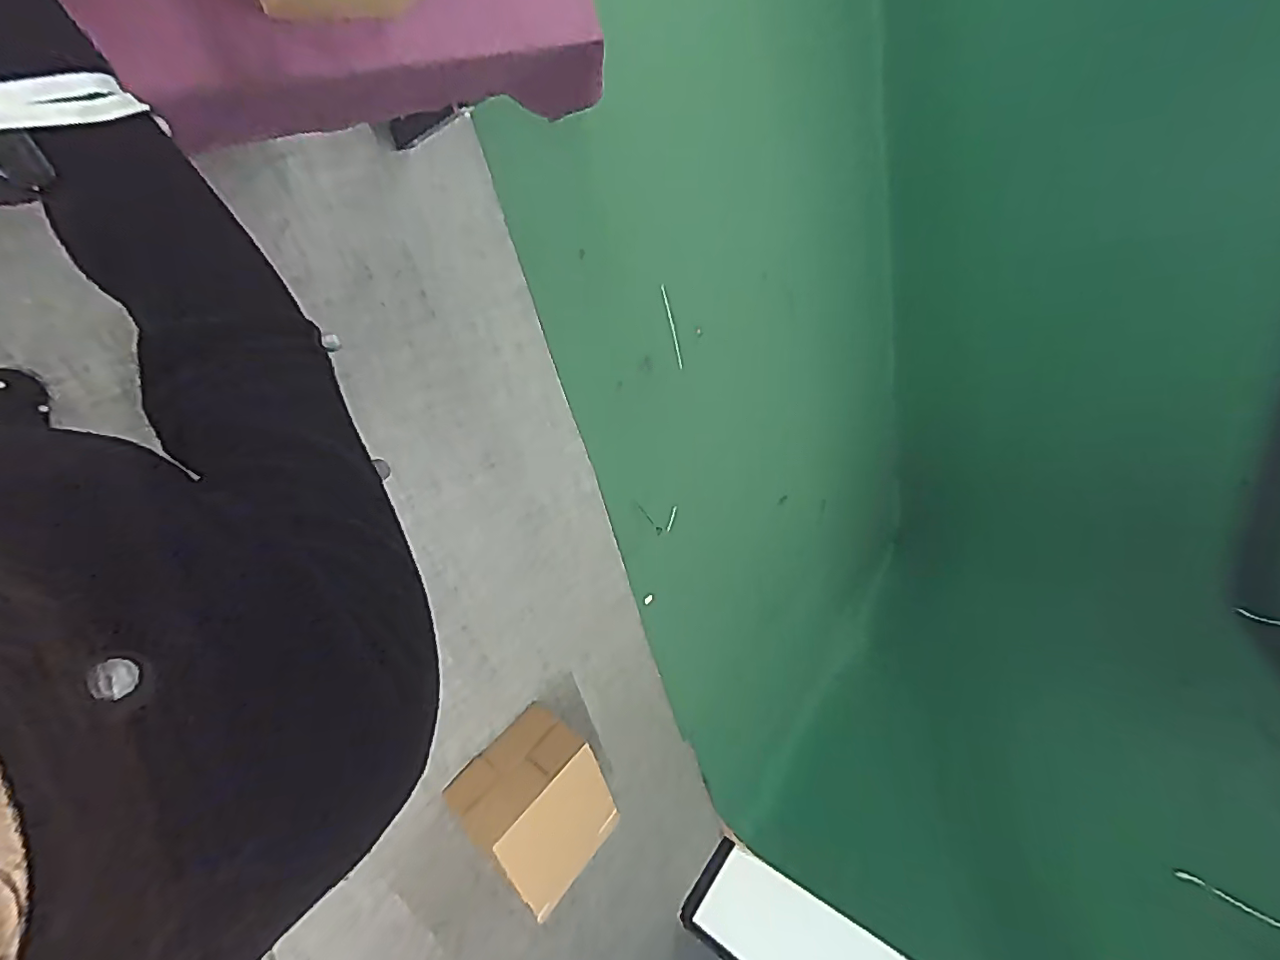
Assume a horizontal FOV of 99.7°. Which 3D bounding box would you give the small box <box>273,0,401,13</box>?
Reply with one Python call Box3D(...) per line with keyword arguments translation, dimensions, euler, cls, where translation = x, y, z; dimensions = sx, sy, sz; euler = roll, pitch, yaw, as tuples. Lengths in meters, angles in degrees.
Box3D(translation=(-0.338, -0.646, 0.589), dimensions=(0.179, 0.176, 0.168), euler=(-40, 124, -35), cls="small box")
